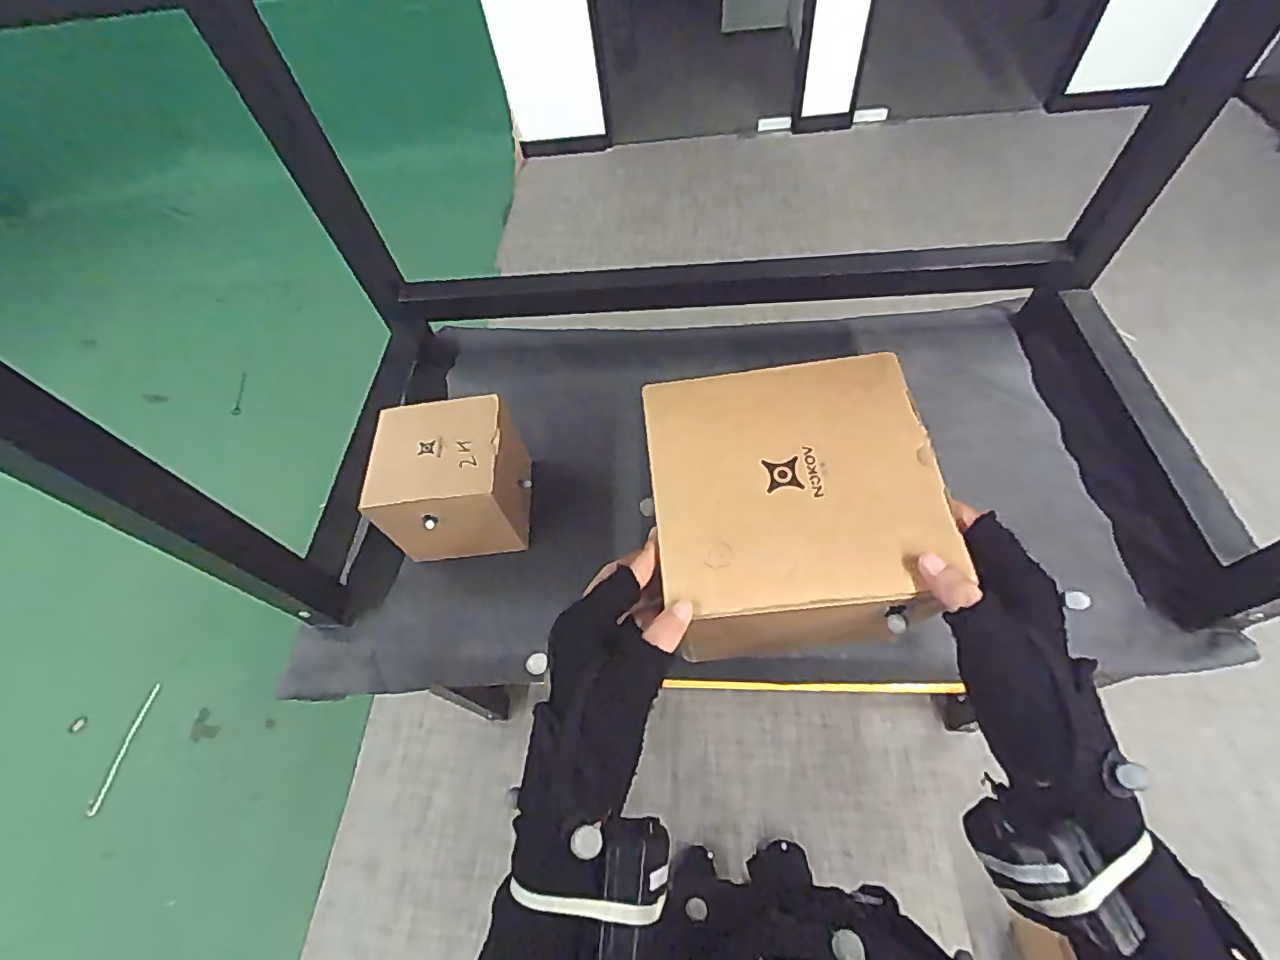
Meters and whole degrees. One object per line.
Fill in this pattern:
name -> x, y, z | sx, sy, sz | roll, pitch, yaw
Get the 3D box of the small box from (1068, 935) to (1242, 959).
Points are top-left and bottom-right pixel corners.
small box -> 0.803, 0.812, 0.811 | 0.168, 0.176, 0.179 | -3, 56, 5

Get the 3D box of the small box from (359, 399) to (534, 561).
small box -> -0.265, 0.007, 0.784 | 0.179, 0.176, 0.168 | -6, 58, 2
